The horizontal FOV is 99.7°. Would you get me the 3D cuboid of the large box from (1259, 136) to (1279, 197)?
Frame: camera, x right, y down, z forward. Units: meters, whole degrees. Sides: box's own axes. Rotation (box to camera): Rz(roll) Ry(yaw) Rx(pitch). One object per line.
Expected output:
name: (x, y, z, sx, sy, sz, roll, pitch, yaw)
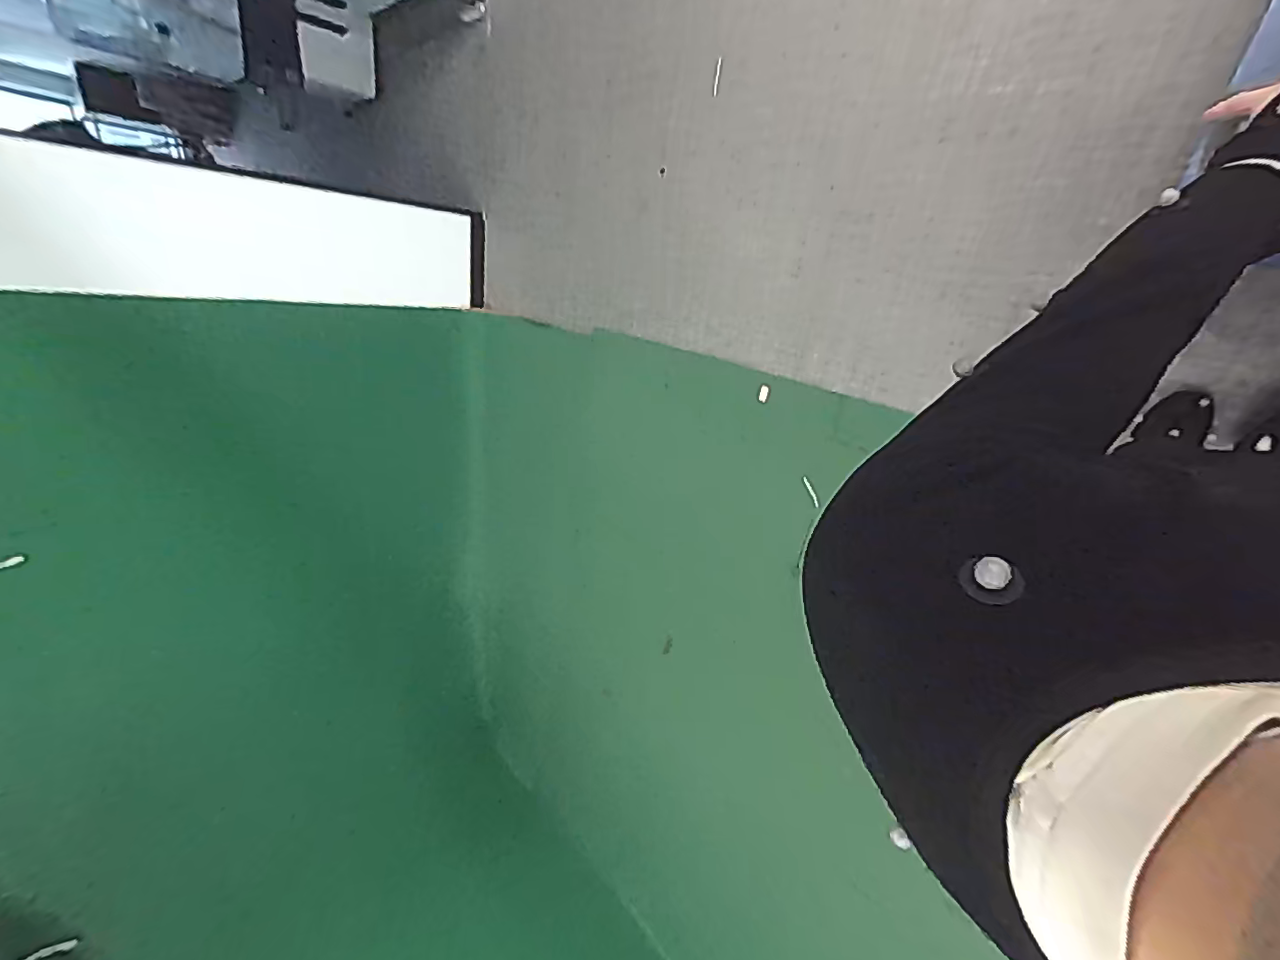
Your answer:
large box: (1.097, -0.591, 0.664, 0.320, 0.320, 0.408, 30, 118, 36)
